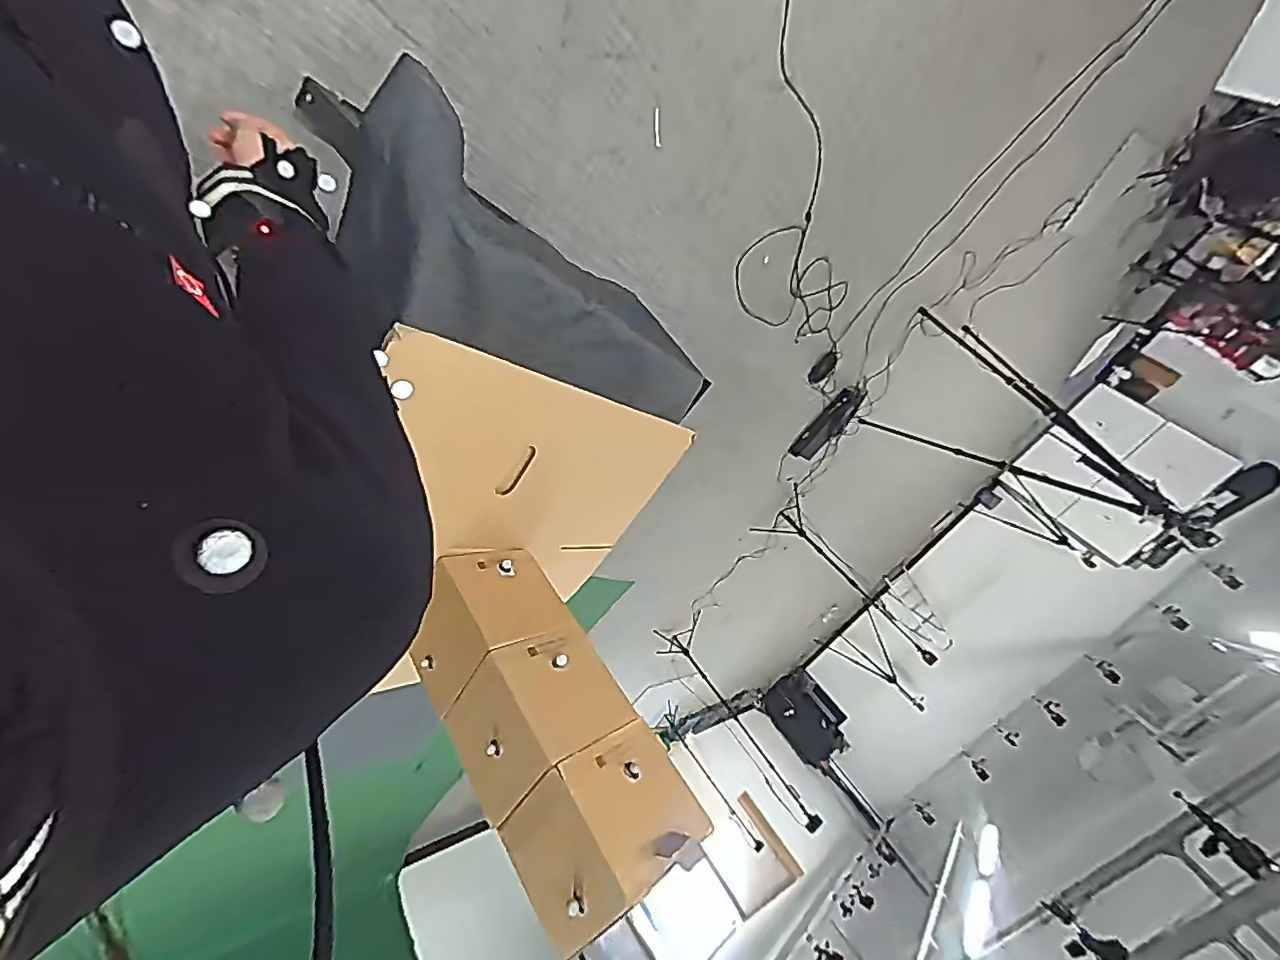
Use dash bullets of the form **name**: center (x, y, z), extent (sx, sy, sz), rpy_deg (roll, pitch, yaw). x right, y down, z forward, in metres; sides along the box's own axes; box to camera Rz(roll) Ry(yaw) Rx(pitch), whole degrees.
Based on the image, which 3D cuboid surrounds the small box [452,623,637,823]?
- **small box**: center (-0.144, 0.334, 0.773), extent (0.168, 0.176, 0.179), rpy_deg (-2, 133, -51)

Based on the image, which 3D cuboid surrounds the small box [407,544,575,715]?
- **small box**: center (-0.241, 0.224, 0.847), extent (0.168, 0.176, 0.179), rpy_deg (-1, 132, -52)

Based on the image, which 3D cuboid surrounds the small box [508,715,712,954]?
- **small box**: center (-0.047, 0.445, 0.704), extent (0.168, 0.176, 0.179), rpy_deg (-2, 133, -51)
